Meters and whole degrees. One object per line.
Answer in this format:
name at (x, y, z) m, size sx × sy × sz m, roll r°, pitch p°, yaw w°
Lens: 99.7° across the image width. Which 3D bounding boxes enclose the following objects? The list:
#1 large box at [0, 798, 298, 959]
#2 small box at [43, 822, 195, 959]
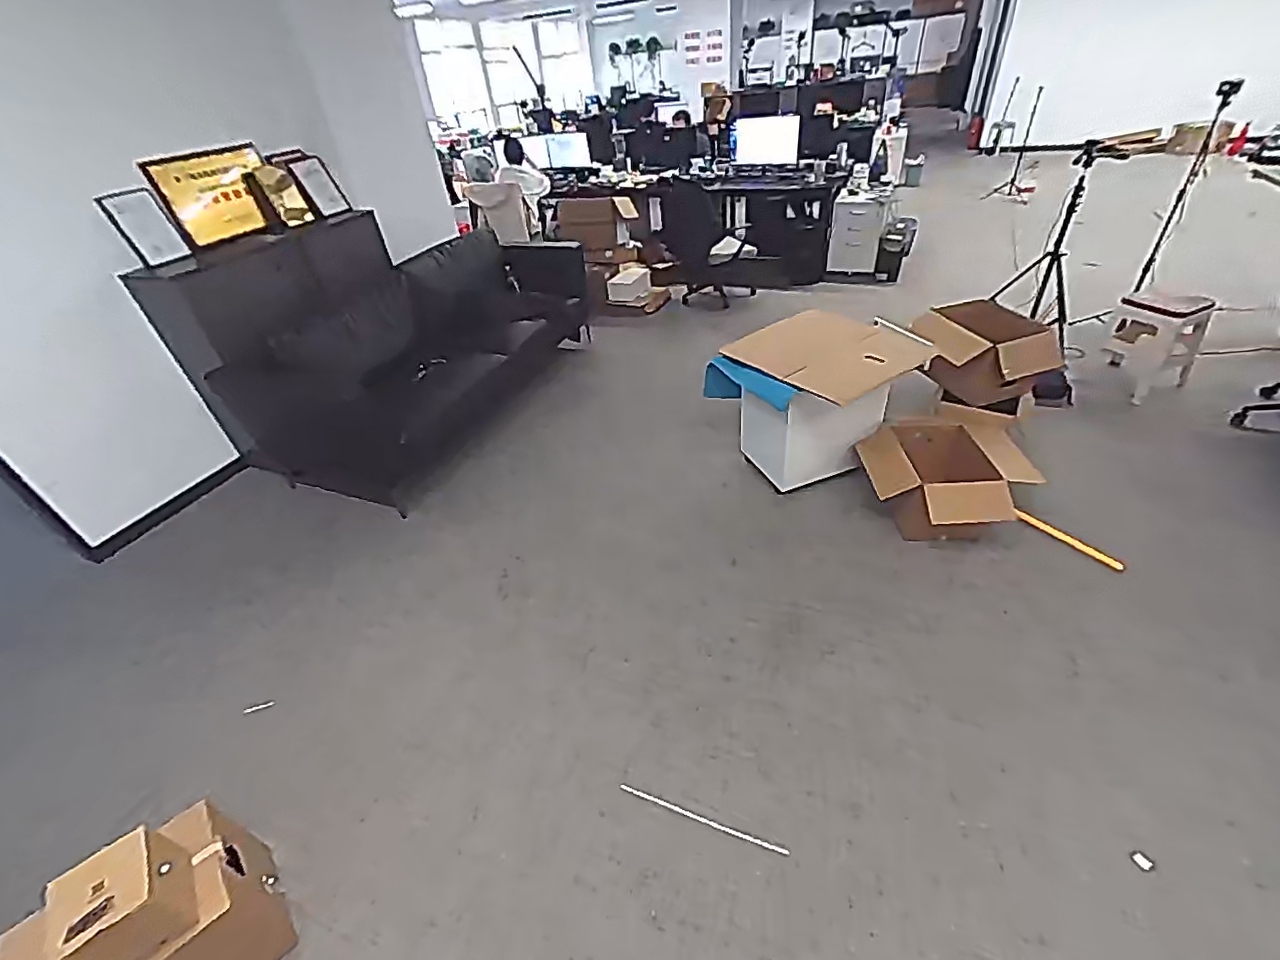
large box at (-1.116, 1.066, 1.259) m, size 0.408 × 0.320 × 0.320 m, roll -34°, pitch 45°, yaw -30°
small box at (-1.057, 0.861, 1.111) m, size 0.168 × 0.176 × 0.179 m, roll -30°, pitch 45°, yaw -27°
